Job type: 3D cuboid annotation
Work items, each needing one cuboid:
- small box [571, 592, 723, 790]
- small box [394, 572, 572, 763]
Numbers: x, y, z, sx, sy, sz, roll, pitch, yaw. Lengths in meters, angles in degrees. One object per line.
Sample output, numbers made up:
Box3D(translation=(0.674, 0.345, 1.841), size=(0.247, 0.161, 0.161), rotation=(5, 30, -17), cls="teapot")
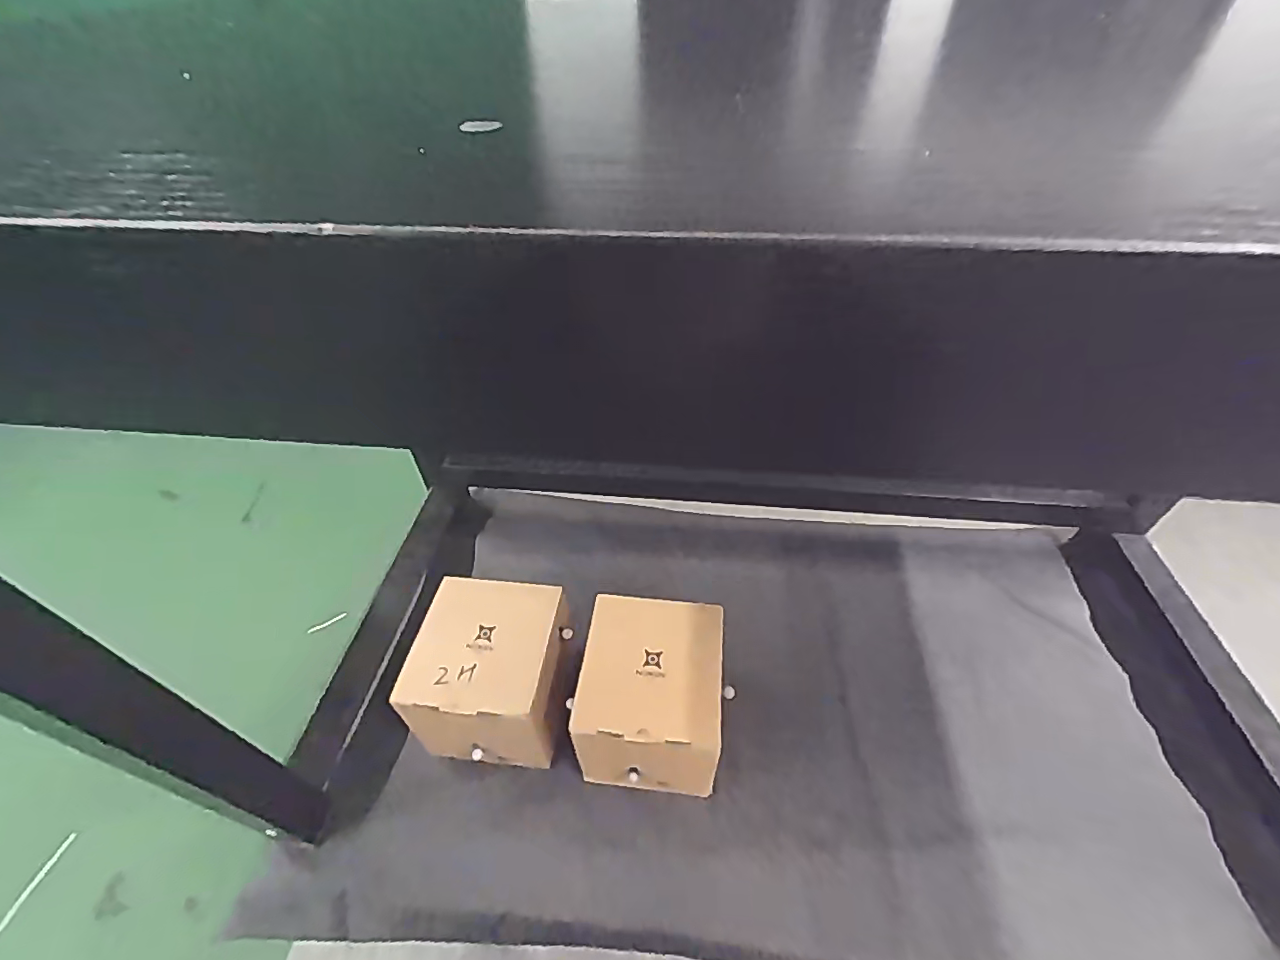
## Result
Box3D(translation=(0.014, 0.271, 0.698), size=(0.168, 0.176, 0.179), rotation=(5, 45, 6), cls="small box")
Box3D(translation=(-0.190, 0.249, 0.722), size=(0.168, 0.176, 0.179), rotation=(4, 45, 6), cls="small box")
